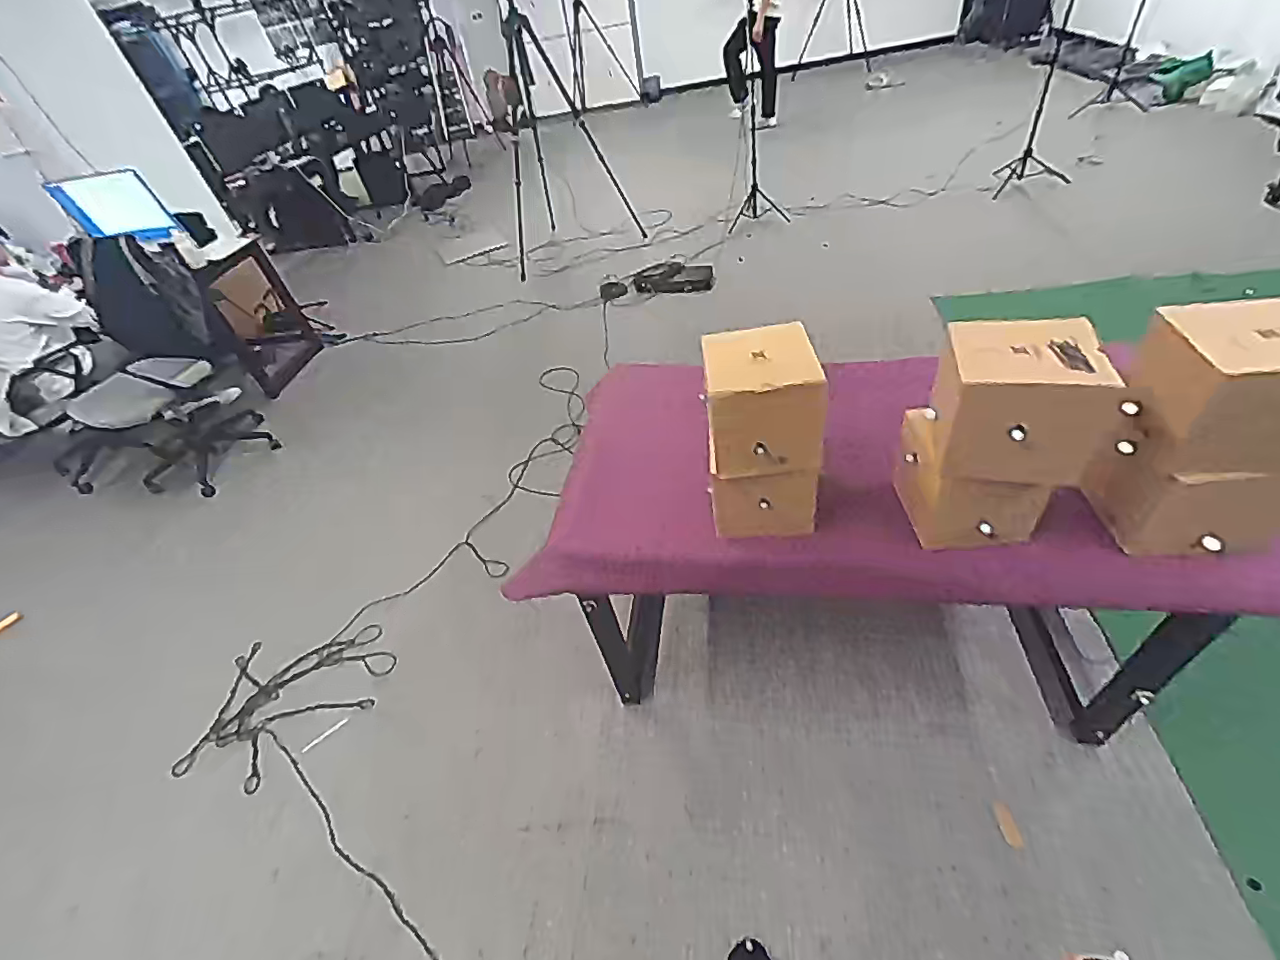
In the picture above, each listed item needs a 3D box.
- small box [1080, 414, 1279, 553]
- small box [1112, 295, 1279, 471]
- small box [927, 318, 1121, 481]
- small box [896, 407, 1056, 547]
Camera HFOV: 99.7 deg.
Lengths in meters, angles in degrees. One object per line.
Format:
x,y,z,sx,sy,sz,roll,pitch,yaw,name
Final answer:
0.830,-0.003,0.821,0.179,0.176,0.168,-4,43,11,small box
0.790,-0.125,0.719,0.179,0.176,0.168,-1,44,15,small box
0.527,-0.114,0.775,0.179,0.176,0.168,4,44,19,small box
0.544,-0.011,0.904,0.168,0.176,0.179,-6,42,9,small box
